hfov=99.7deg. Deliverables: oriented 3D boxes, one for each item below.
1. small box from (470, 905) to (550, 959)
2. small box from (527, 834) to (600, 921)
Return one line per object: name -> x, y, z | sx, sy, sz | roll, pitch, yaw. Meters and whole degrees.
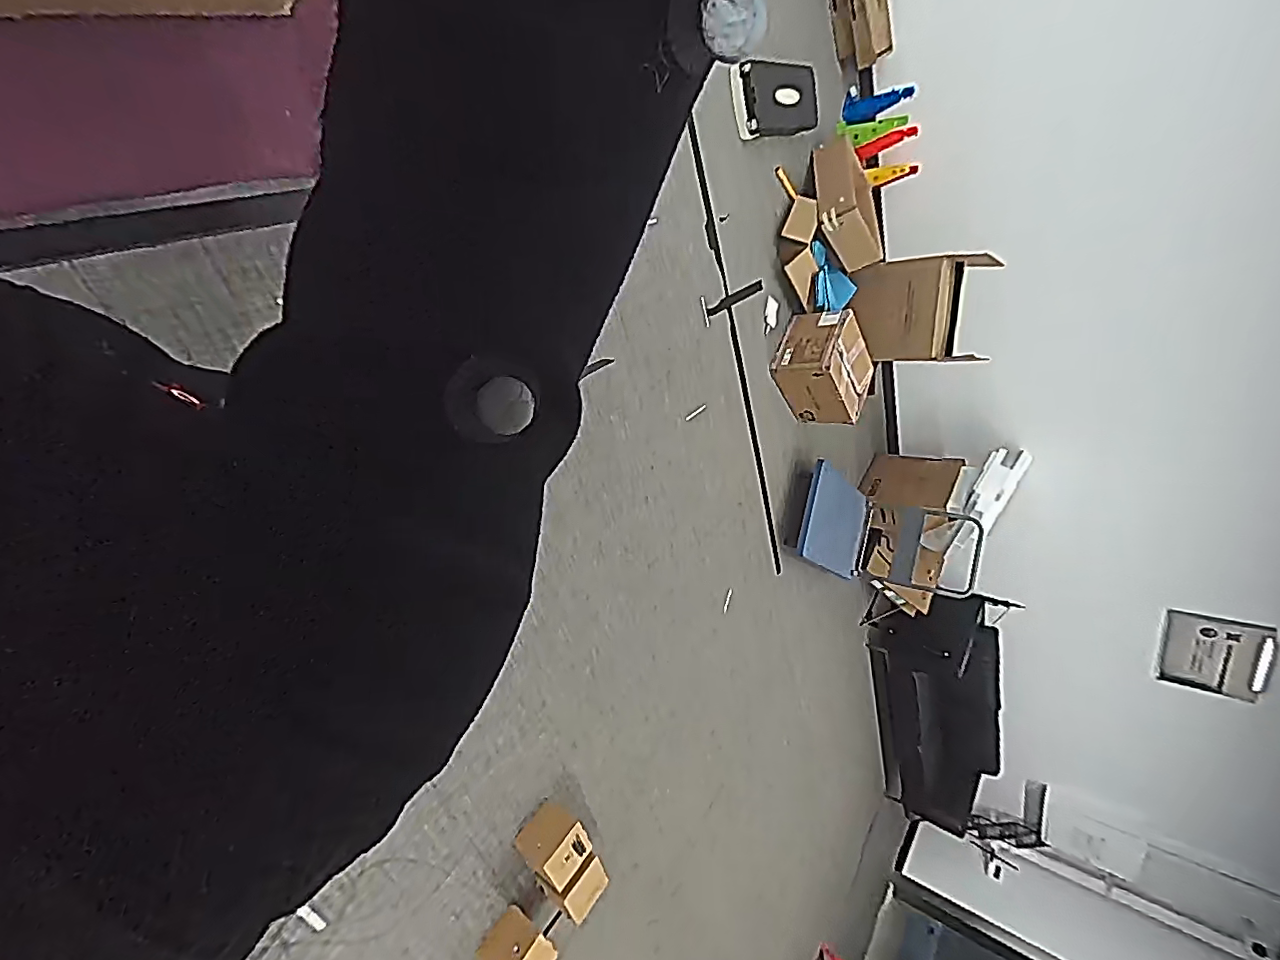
small box -> -0.444, 1.600, 1.821 | 0.179, 0.176, 0.168 | -44, 126, -37
small box -> -0.277, 1.465, 1.986 | 0.179, 0.176, 0.168 | -38, 123, -39
